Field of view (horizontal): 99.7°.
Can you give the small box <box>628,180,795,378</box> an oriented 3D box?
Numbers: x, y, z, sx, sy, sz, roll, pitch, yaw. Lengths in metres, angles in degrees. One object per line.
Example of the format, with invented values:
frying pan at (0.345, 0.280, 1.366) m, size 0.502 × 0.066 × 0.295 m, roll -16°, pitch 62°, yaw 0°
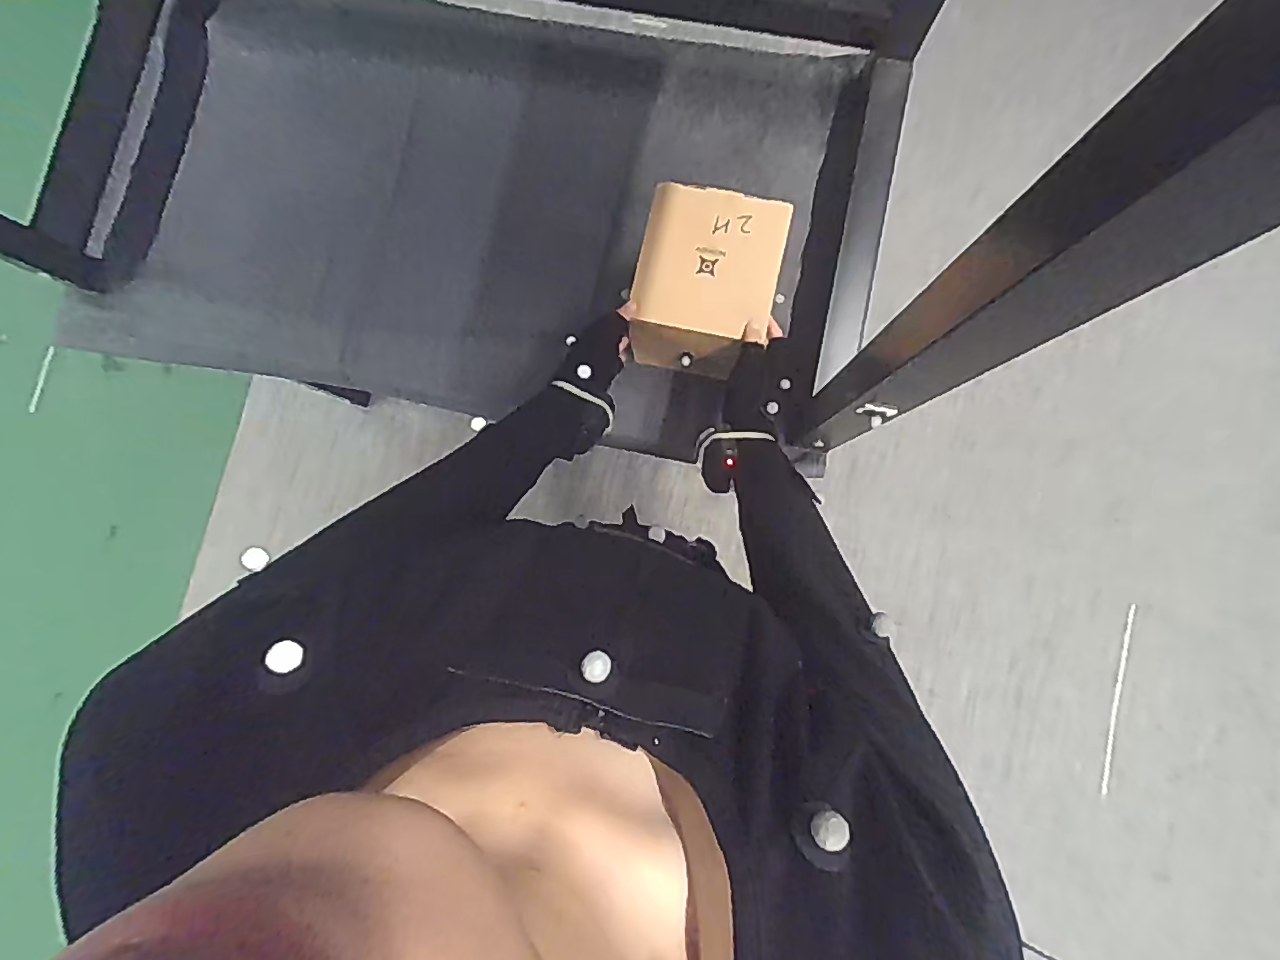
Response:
small box at (0.089, -0.249, 0.711) m, size 0.168 × 0.176 × 0.179 m, roll 13°, pitch 85°, yaw 4°
